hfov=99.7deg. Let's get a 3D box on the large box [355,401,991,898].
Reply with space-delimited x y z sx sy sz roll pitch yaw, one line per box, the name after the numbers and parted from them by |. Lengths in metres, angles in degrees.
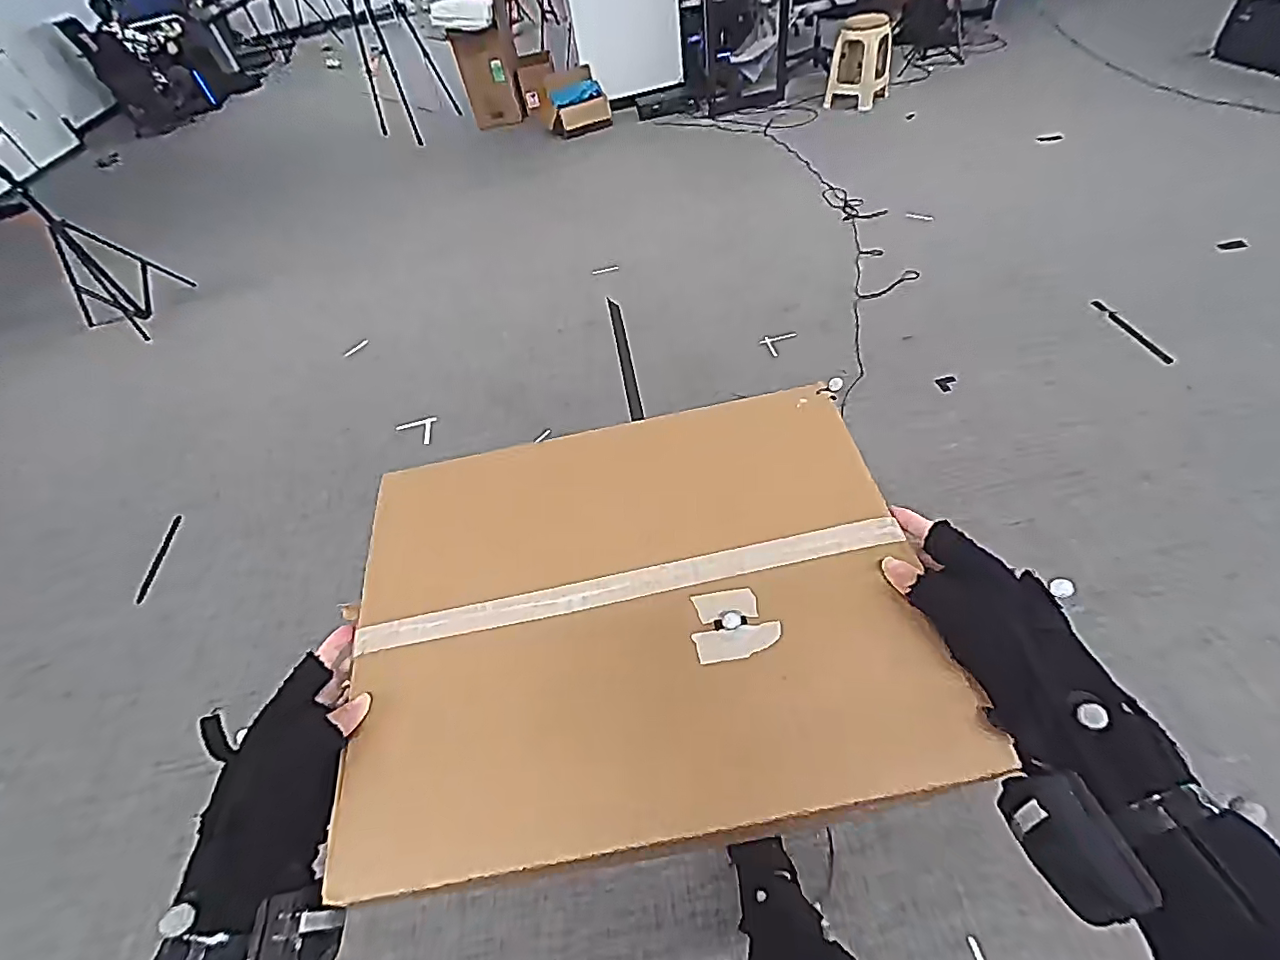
0.012 0.173 0.531 0.408 0.320 0.320 -11 55 0 | large box
